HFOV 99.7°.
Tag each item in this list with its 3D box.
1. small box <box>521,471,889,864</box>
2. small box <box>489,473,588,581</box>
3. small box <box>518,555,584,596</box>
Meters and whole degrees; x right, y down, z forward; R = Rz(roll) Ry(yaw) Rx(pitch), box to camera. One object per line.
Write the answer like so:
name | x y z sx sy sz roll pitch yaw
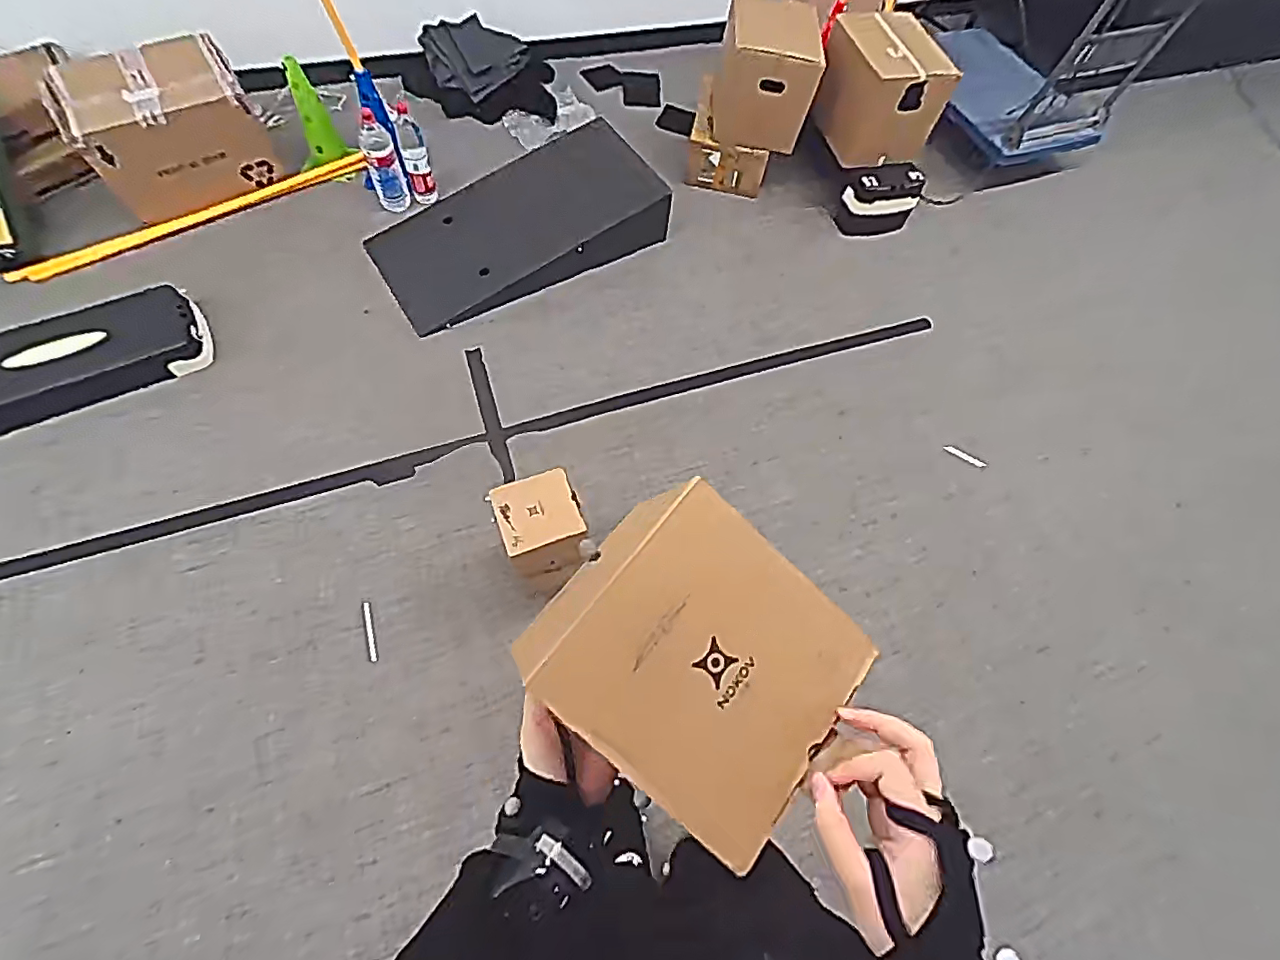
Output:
small box | 0.032 0.120 0.402 0.179 0.176 0.168 44 71 -4
small box | -0.229 0.111 1.236 0.179 0.176 0.168 -18 66 -15
small box | -0.238 0.186 1.382 0.168 0.176 0.179 -14 65 -13
